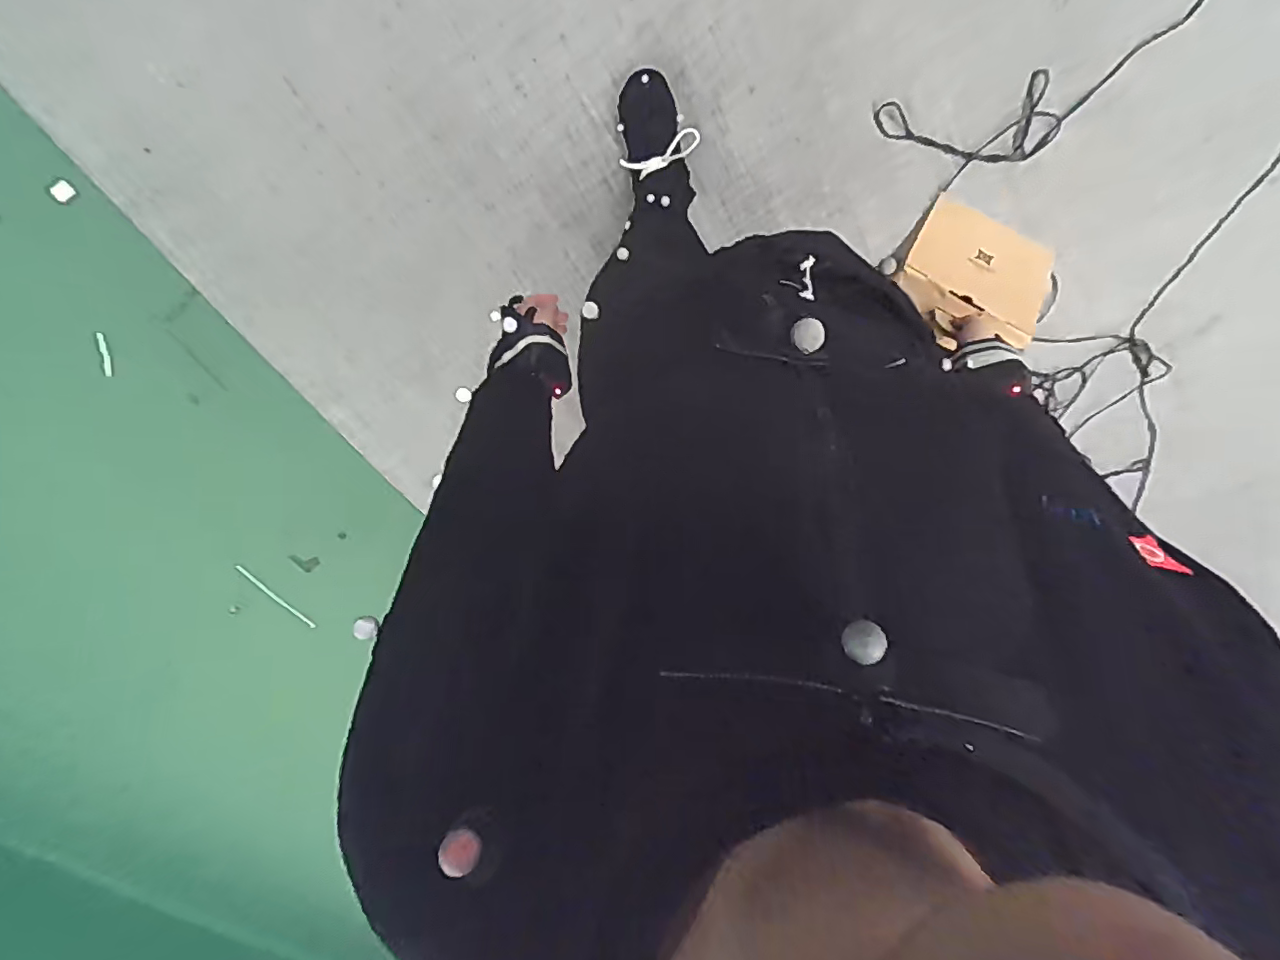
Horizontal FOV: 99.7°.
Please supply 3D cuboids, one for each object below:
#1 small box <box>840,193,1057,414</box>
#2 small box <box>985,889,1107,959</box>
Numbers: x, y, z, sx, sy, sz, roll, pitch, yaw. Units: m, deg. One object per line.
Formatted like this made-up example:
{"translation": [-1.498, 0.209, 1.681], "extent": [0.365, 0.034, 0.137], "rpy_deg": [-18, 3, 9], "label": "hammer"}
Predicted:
{"translation": [0.392, -0.223, 0.708], "extent": [0.168, 0.179, 0.176], "rpy_deg": [32, 153, 4], "label": "small box"}
{"translation": [0.829, 0.954, 1.090], "extent": [0.168, 0.176, 0.179], "rpy_deg": [-24, 120, 17], "label": "small box"}
